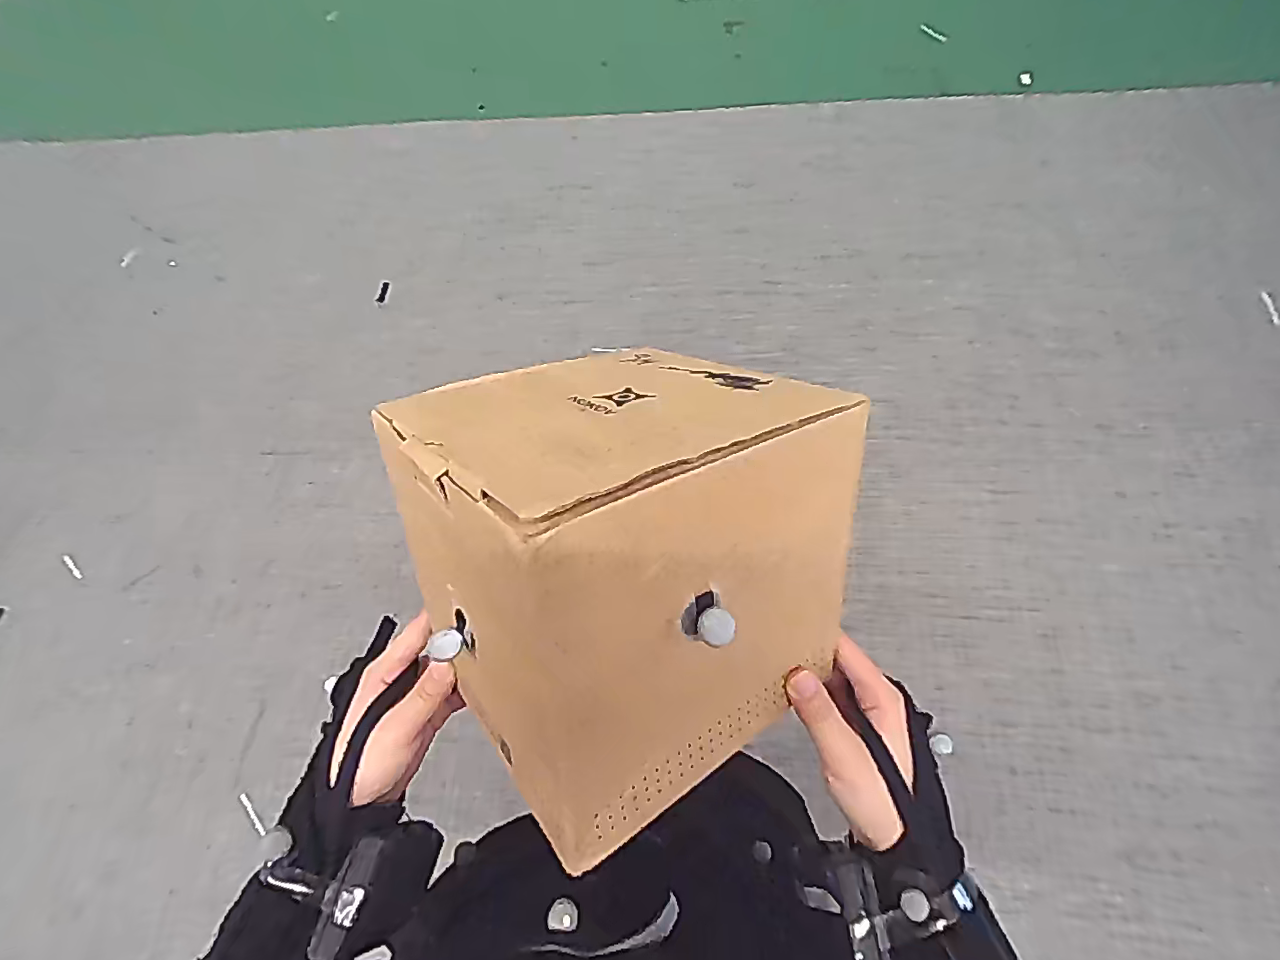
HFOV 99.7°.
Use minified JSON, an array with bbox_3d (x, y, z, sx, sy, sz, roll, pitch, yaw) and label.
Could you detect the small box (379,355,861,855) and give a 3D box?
[{"bbox_3d":[-0.009,0.041,0.288,0.179,0.176,0.168,-21,30,-32],"label":"small box"}]
